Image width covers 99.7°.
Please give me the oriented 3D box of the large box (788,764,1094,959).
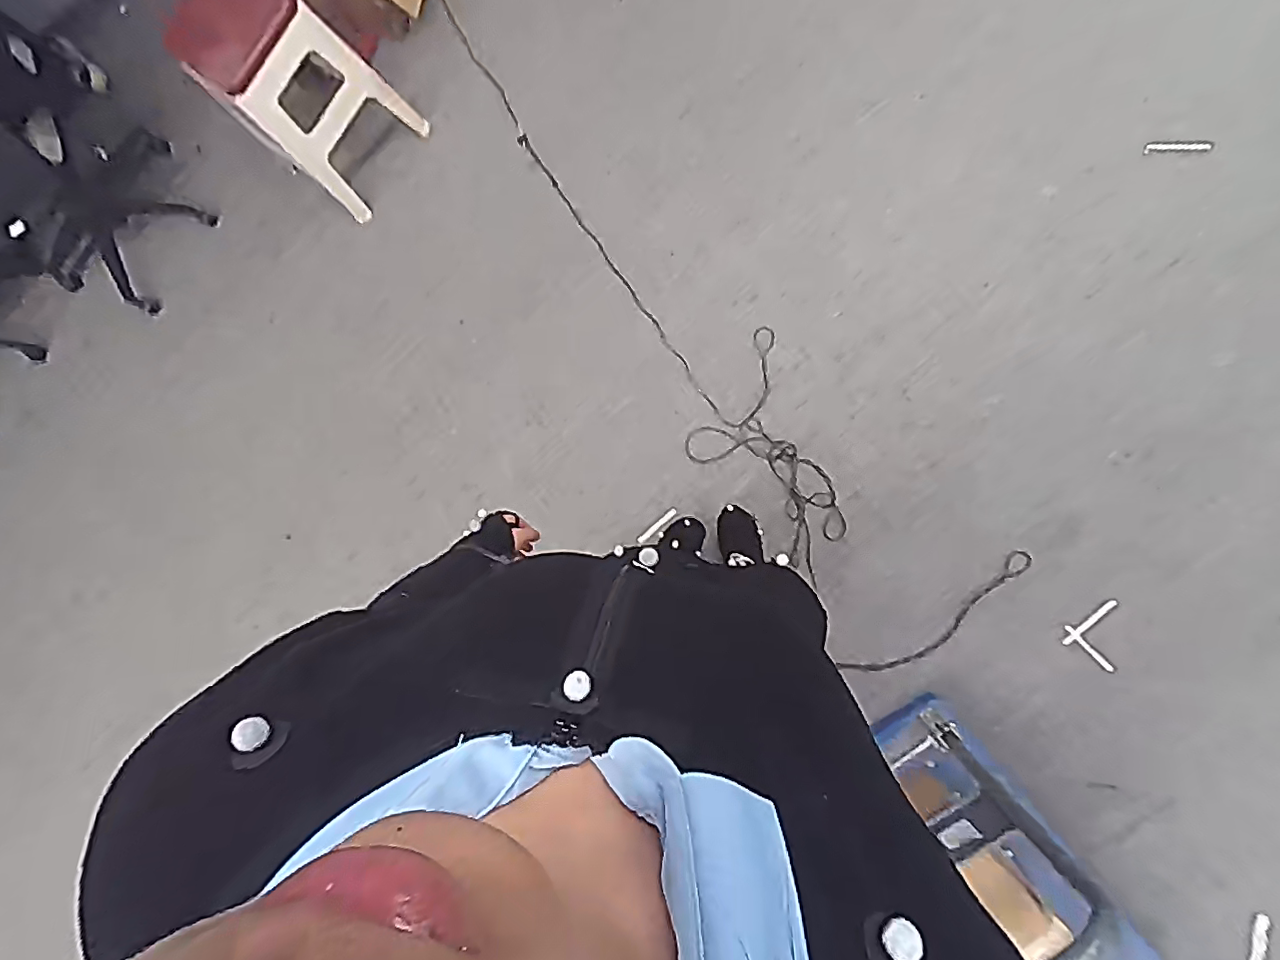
[{"bbox_3d":[0.548,0.856,1.043,0.408,0.320,0.320,-43,79,6],"label":"large box"}]
